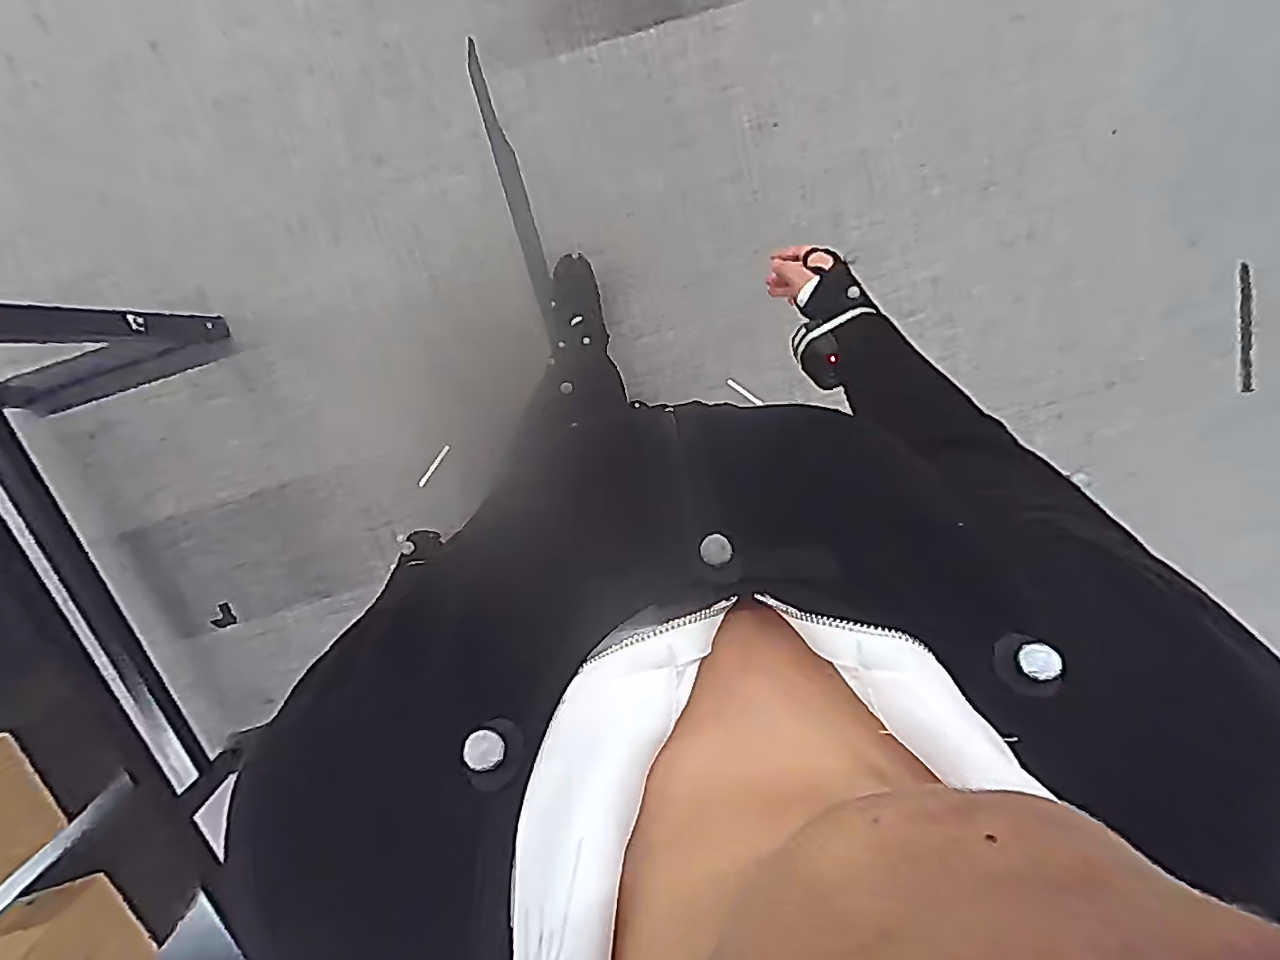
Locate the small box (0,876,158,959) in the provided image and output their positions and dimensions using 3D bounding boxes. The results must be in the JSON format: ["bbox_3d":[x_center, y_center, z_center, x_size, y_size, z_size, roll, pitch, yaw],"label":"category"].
[{"bbox_3d":[-0.883,0.740,0.796,0.168,0.176,0.179,-18,104,2],"label":"small box"}]

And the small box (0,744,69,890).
[{"bbox_3d":[-0.959,0.486,0.728,0.168,0.176,0.179,-15,104,1],"label":"small box"}]
